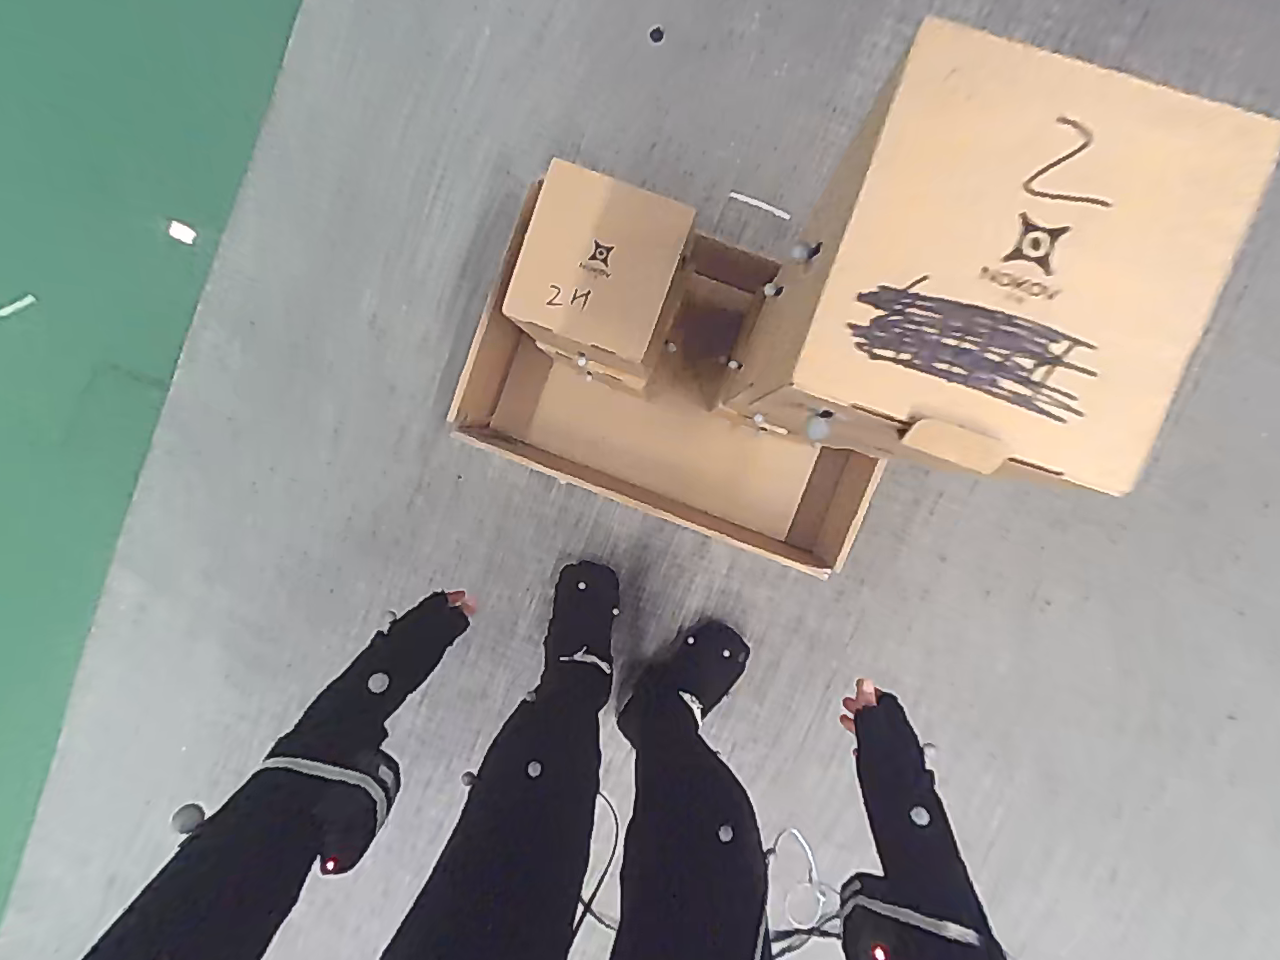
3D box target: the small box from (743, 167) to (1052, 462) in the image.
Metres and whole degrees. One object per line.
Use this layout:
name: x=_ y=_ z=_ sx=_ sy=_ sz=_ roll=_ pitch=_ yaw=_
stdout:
small box: x=0.202 y=-0.129 z=0.486 sx=0.168 sy=0.176 sz=0.179 roll=22 pitch=96 yaw=1

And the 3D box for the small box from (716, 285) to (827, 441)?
small box: x=0.217 y=-0.165 z=0.813 sx=0.168 sy=0.176 sz=0.179 roll=17 pitch=95 yaw=4

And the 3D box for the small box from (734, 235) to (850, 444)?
small box: x=0.217 y=-0.147 z=0.632 sx=0.168 sy=0.176 sz=0.179 roll=22 pitch=96 yaw=2

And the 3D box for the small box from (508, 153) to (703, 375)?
small box: x=-0.037 y=-0.243 z=0.655 sx=0.168 sy=0.176 sz=0.179 roll=21 pitch=95 yaw=1
